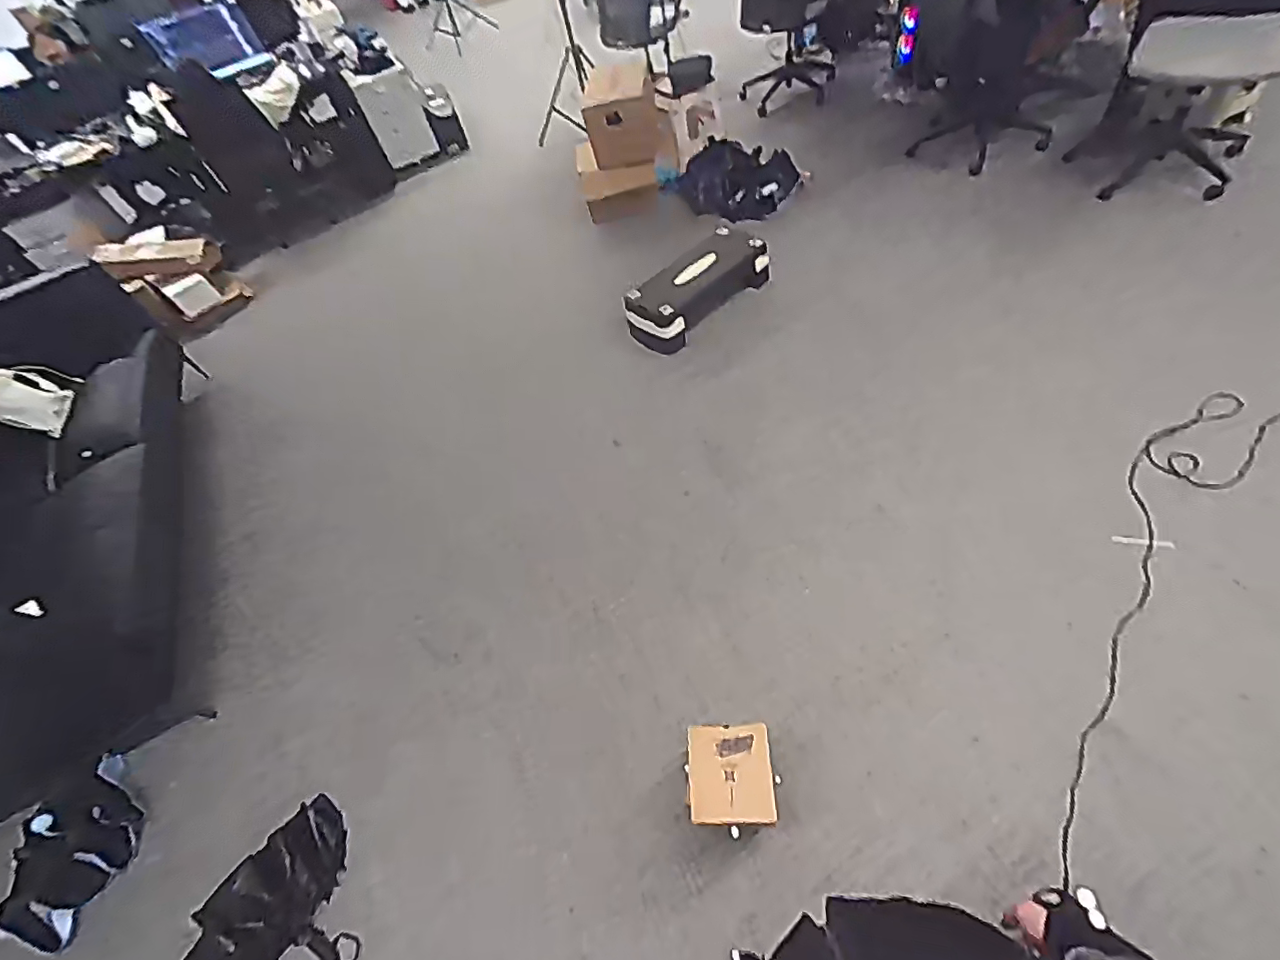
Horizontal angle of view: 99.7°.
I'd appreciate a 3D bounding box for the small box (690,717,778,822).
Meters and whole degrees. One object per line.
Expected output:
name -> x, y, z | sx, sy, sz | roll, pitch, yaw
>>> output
small box -> 0.200, 0.619, 1.152 | 0.168, 0.176, 0.179 | -7, 54, 11
